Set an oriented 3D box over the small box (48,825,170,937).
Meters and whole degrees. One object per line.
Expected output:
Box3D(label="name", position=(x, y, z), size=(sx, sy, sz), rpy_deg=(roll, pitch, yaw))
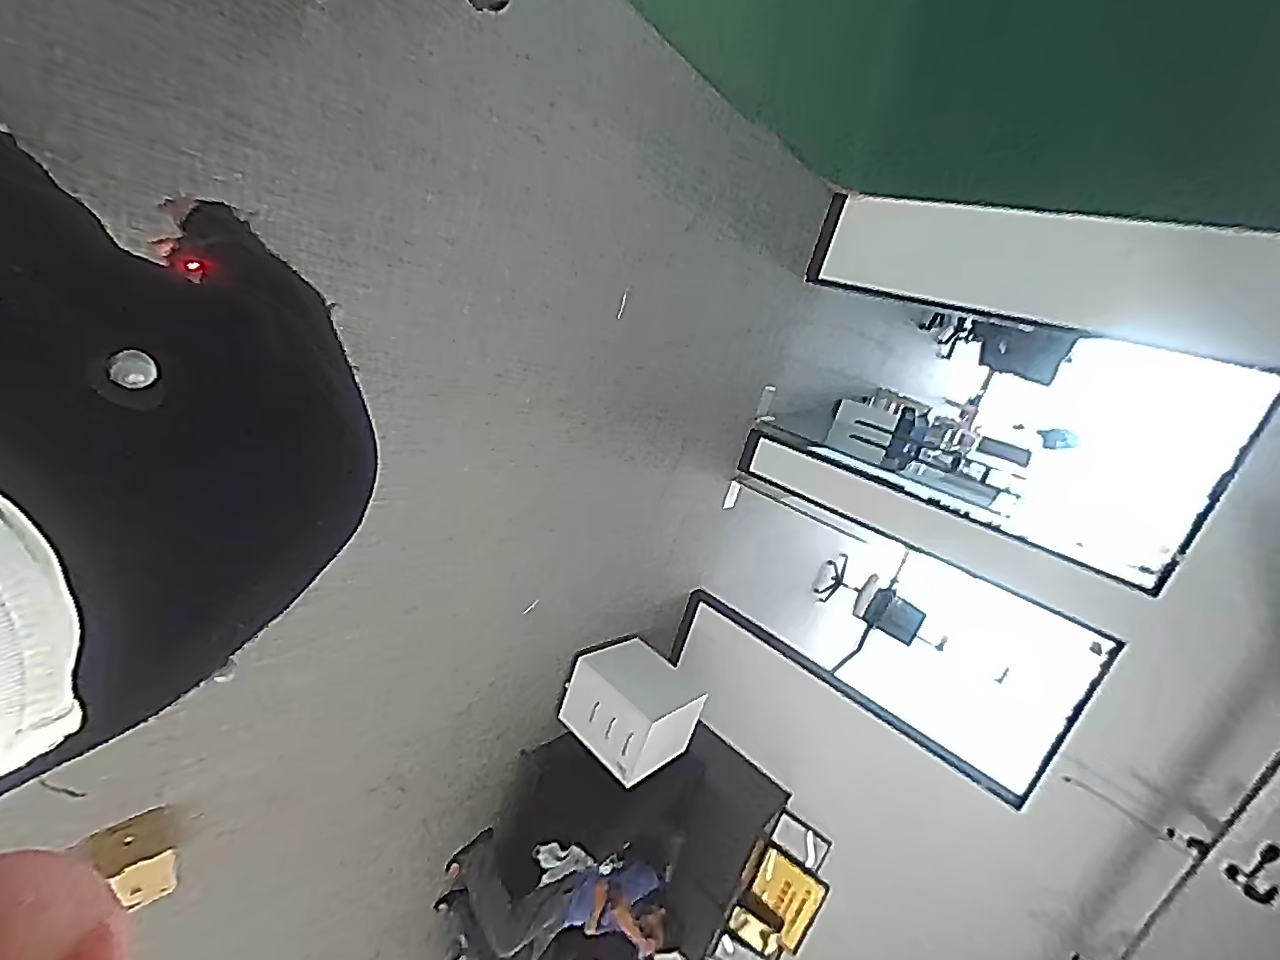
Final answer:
Box3D(label="small box", position=(-1.482, 1.114, 1.509), size=(0.179, 0.176, 0.168), rpy_deg=(-40, 142, -31))
